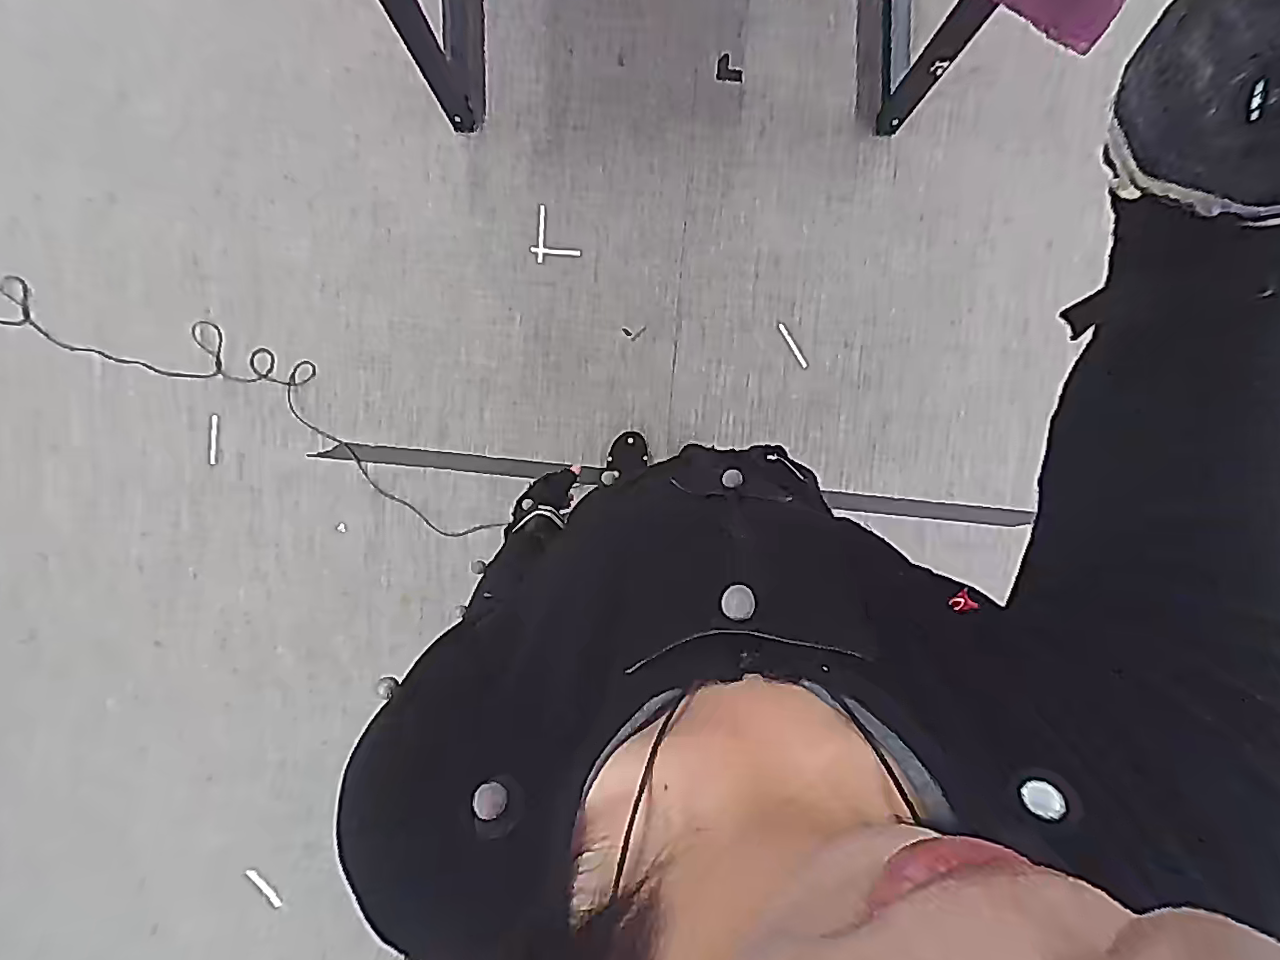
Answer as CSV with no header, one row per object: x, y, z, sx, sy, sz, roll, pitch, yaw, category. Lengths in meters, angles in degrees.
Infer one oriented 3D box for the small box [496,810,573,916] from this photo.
-0.276,1.018,1.450,0.179,0.176,0.168,5,92,-2,small box
